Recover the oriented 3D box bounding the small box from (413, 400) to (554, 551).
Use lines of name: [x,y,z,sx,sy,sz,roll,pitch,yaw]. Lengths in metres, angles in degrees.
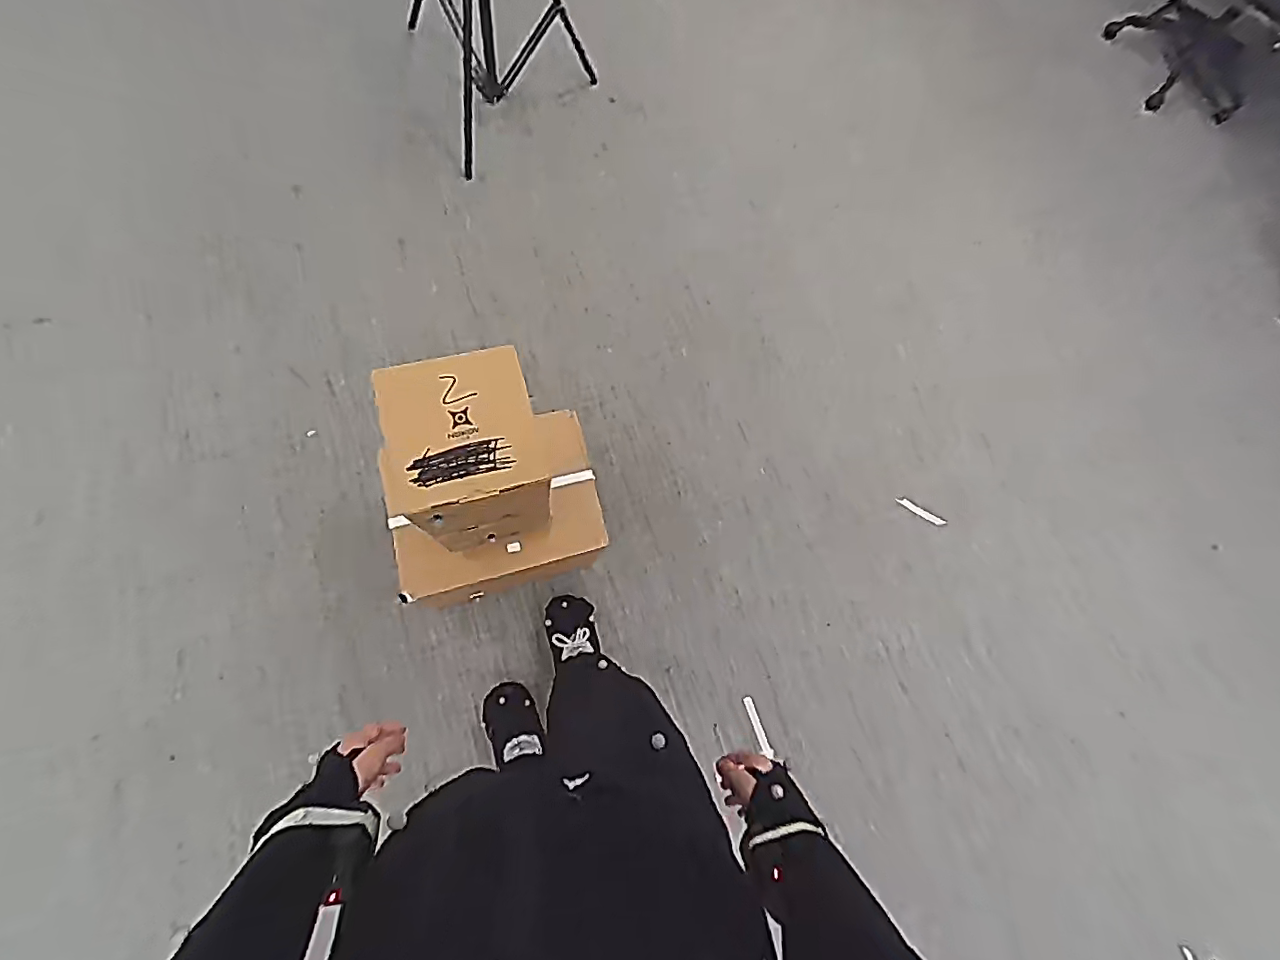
small box: [-0.239,0.000,0.849,0.168,0.176,0.179,-16,80,-14]
